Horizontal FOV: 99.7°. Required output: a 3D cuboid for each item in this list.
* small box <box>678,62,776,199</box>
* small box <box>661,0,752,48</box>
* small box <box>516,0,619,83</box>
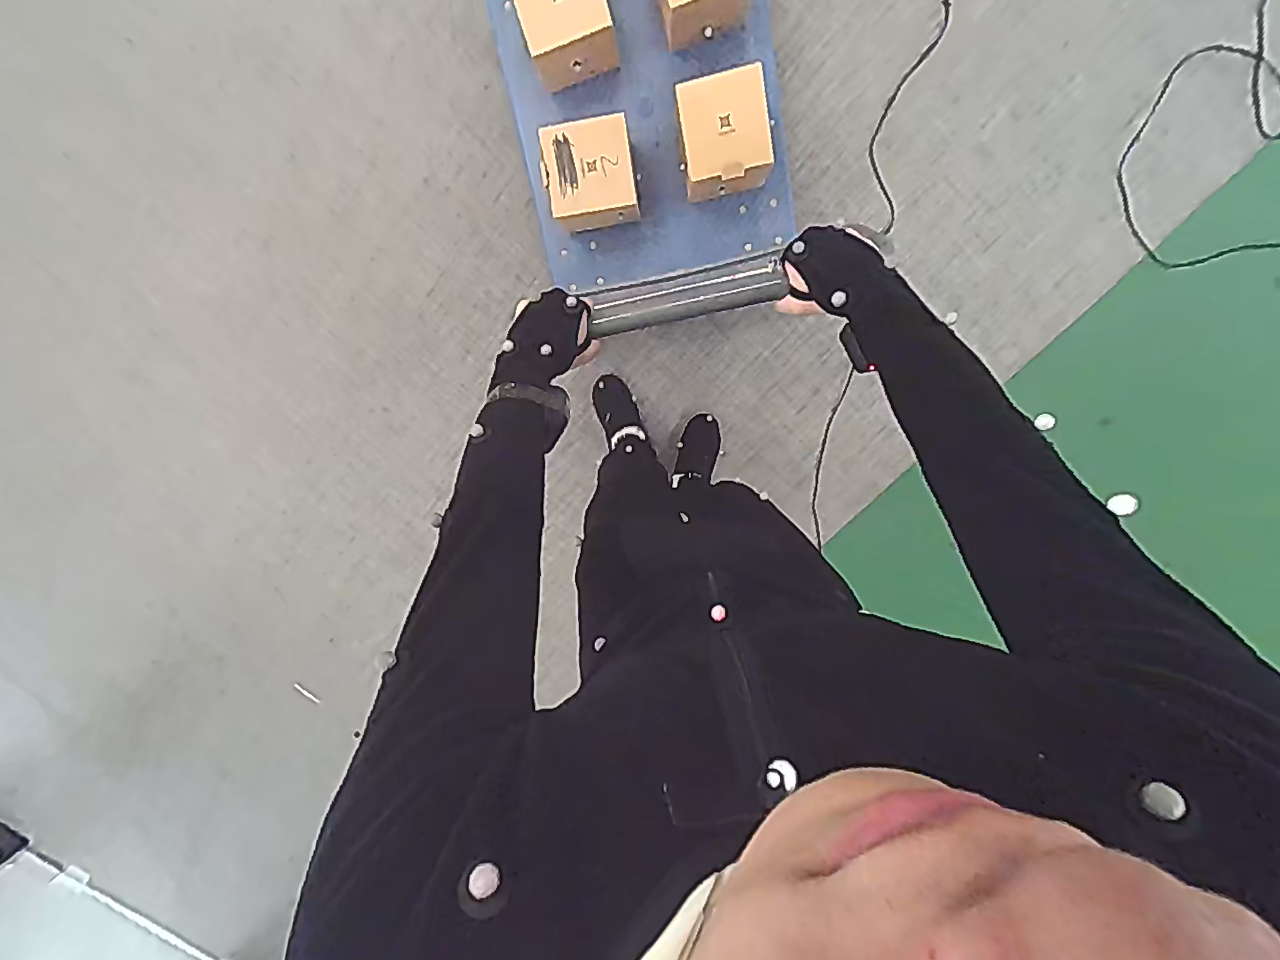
[{"bbox_3d":[0.172,-0.703,1.109,0.168,0.176,0.179,-11,105,6],"label":"small box"},{"bbox_3d":[0.116,-0.985,1.031,0.168,0.176,0.179,-15,105,8],"label":"small box"},{"bbox_3d":[-0.146,-0.923,1.064,0.168,0.176,0.179,-16,105,7],"label":"small box"}]
